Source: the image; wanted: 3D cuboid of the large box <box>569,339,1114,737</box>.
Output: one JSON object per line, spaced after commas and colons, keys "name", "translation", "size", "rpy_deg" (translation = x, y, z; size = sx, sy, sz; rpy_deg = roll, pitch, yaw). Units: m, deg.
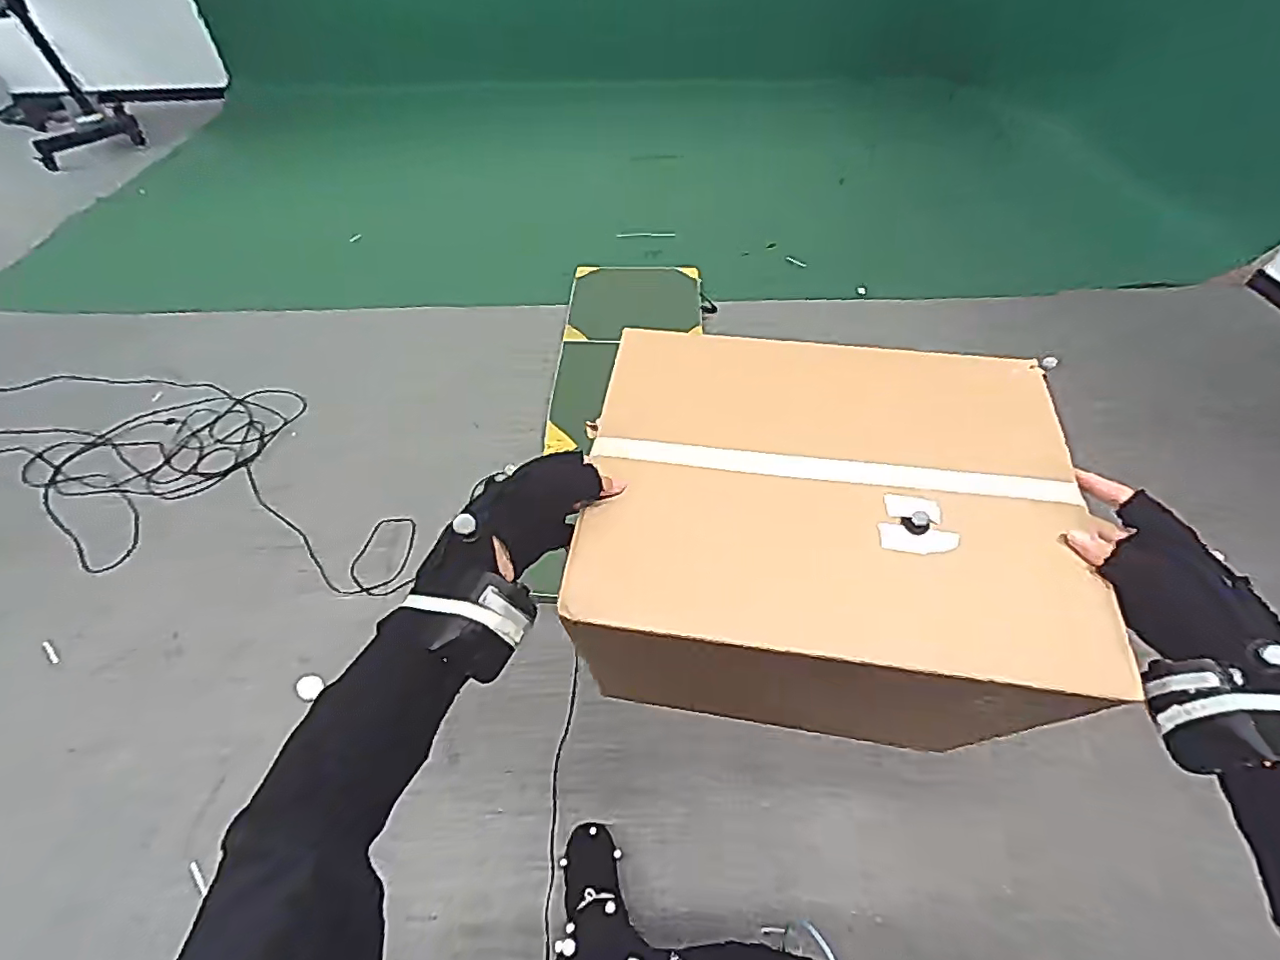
{"name": "large box", "translation": [0.161, 0.074, 0.601], "size": [0.408, 0.320, 0.320], "rpy_deg": [6, 58, 6]}
